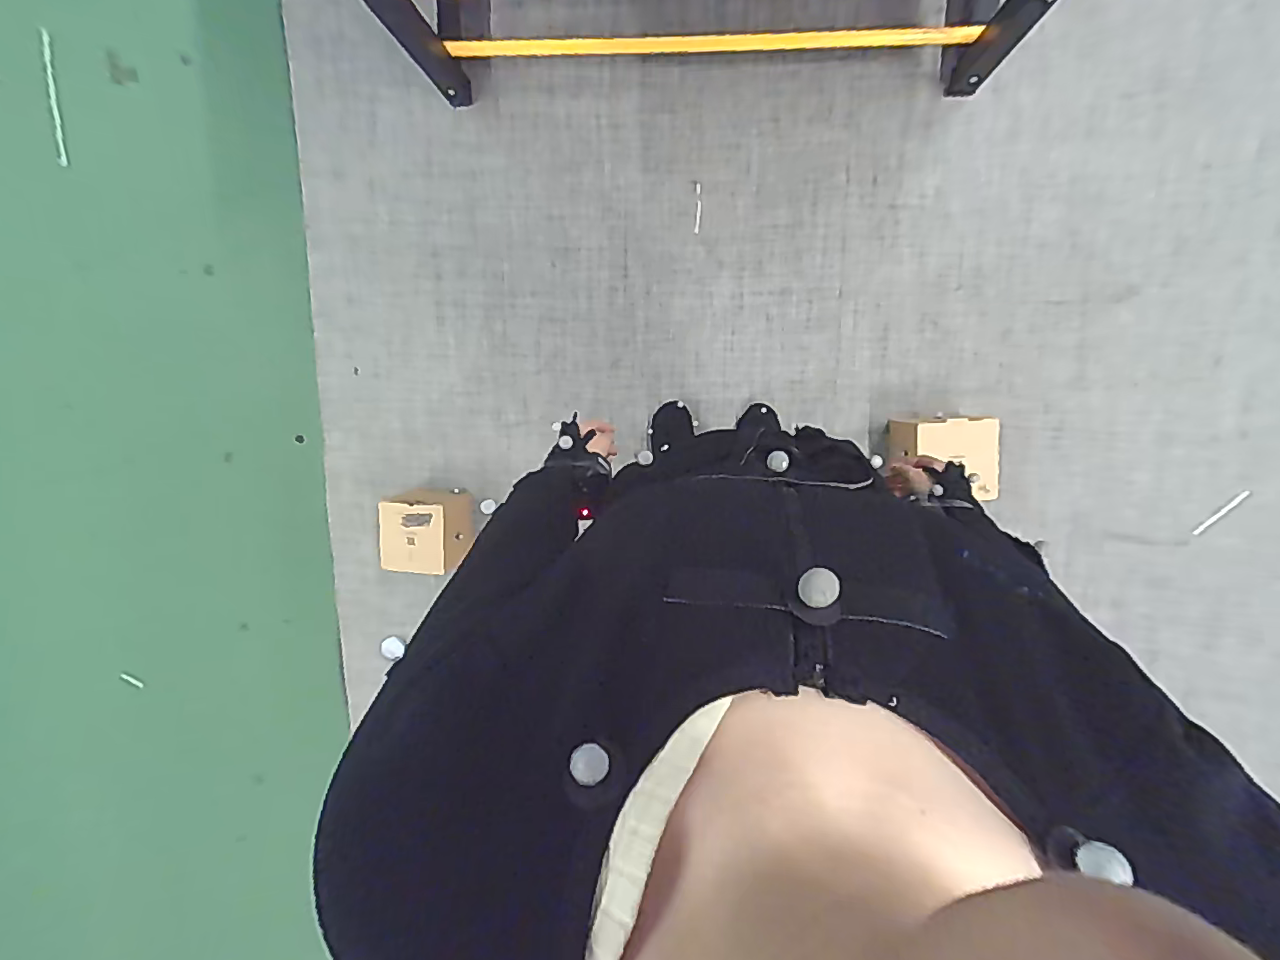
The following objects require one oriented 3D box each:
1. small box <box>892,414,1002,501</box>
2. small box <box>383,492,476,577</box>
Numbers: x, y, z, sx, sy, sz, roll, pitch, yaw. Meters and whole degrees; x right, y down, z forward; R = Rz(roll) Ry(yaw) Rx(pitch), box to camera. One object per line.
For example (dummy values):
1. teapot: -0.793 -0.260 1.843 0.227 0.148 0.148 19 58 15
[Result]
1. small box: 0.678 -0.054 1.212 0.168 0.176 0.179 -4 97 7
2. small box: -0.529 0.130 1.373 0.168 0.176 0.179 4 100 6
